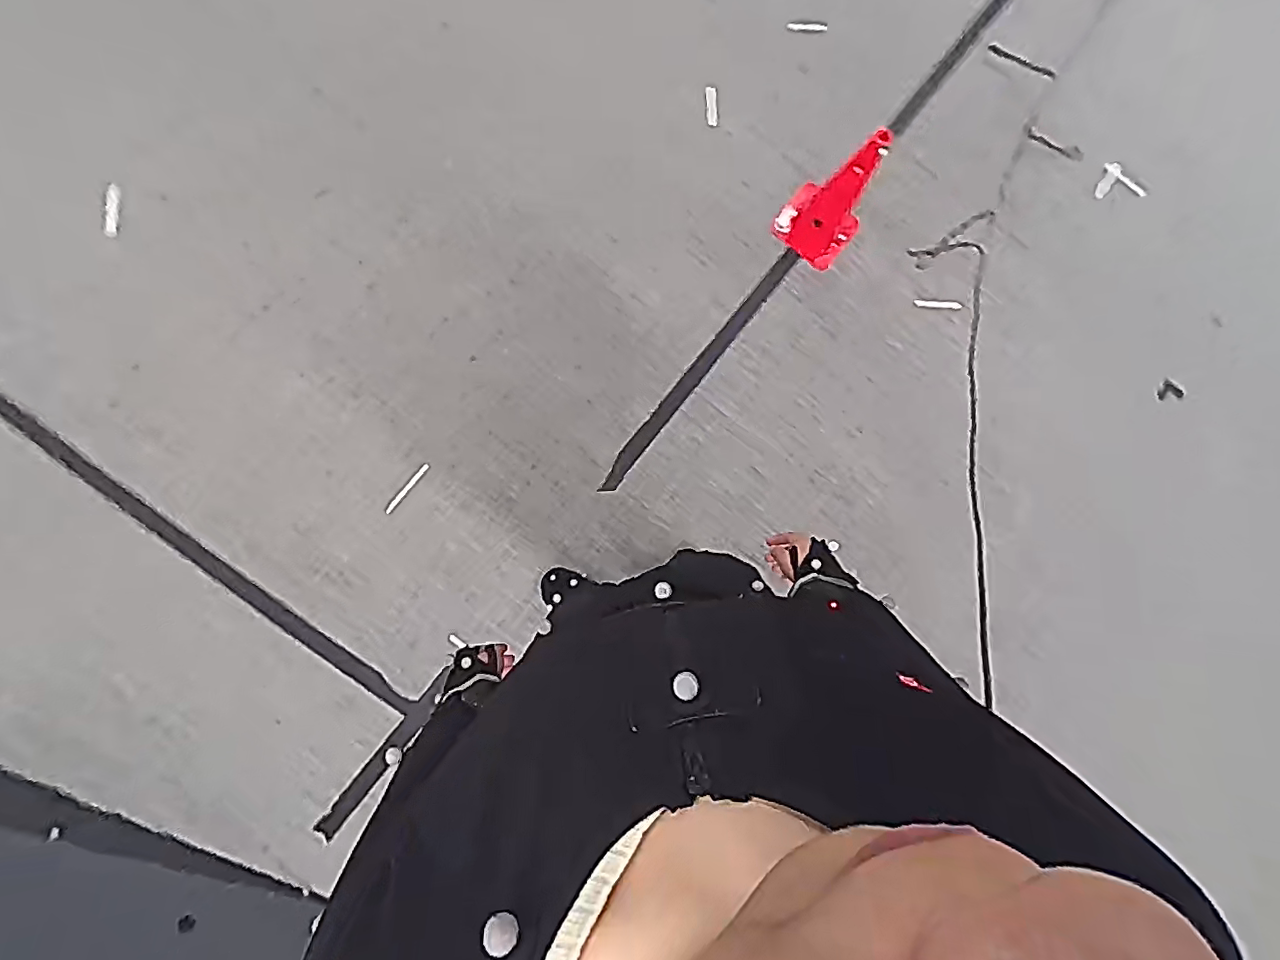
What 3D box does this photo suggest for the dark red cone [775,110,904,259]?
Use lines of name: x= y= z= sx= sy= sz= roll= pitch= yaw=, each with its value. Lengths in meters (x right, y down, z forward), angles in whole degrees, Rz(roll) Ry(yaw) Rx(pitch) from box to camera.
dark red cone: x=0.515 y=-0.748 z=1.335 sx=0.201 sy=0.394 sz=0.202 roll=37 pitch=82 yaw=-3
